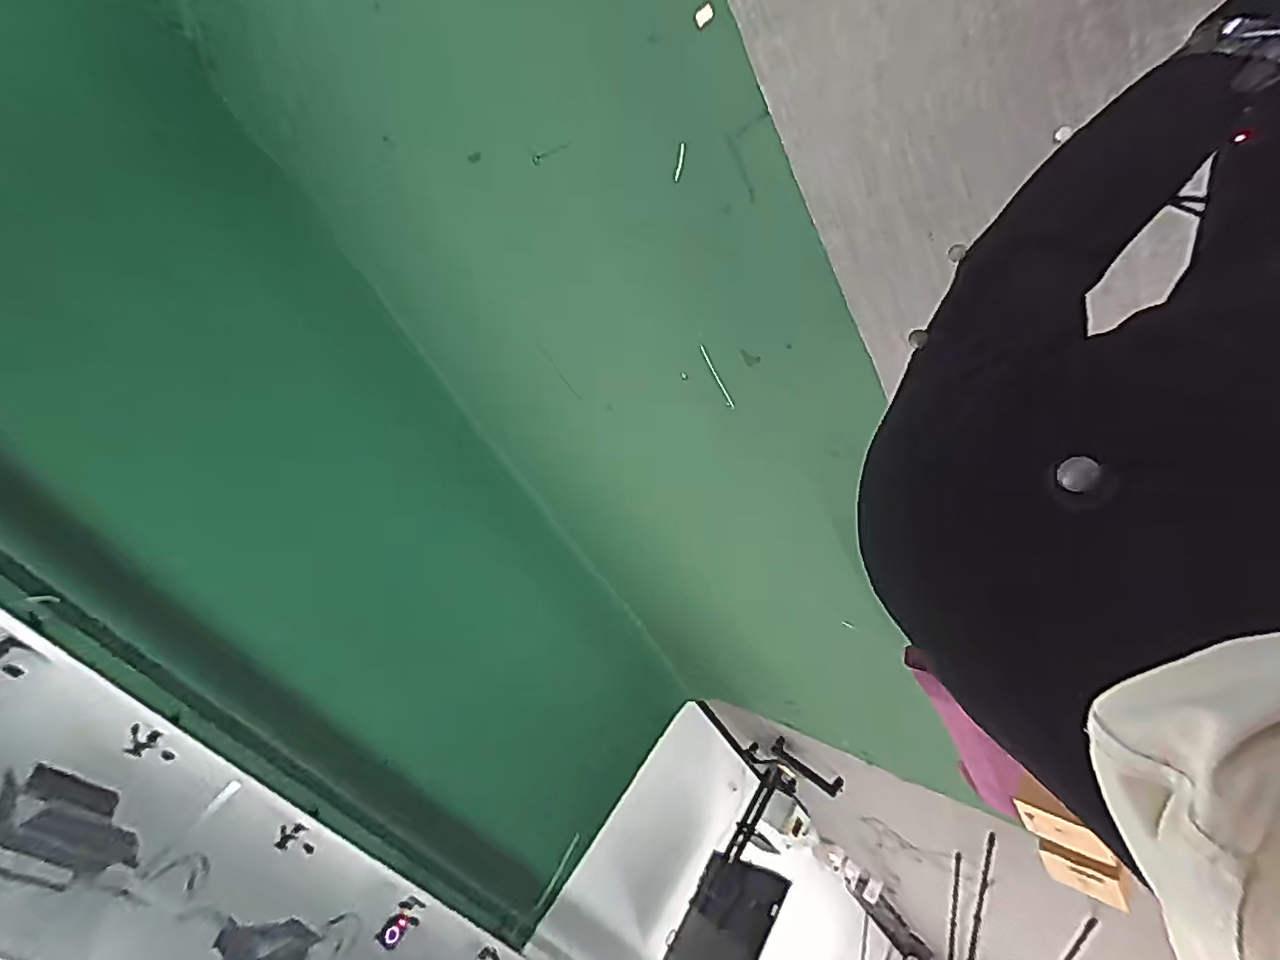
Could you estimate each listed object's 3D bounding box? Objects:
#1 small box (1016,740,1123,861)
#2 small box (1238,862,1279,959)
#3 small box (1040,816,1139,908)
[{"bbox_3d":[1.054,0.771,1.320,0.179,0.176,0.168,0,132,50],"label":"small box"},{"bbox_3d":[1.404,0.952,1.137,0.179,0.176,0.168,-4,128,53],"label":"small box"},{"bbox_3d":[1.185,0.959,1.422,0.168,0.176,0.179,-1,131,52],"label":"small box"}]
